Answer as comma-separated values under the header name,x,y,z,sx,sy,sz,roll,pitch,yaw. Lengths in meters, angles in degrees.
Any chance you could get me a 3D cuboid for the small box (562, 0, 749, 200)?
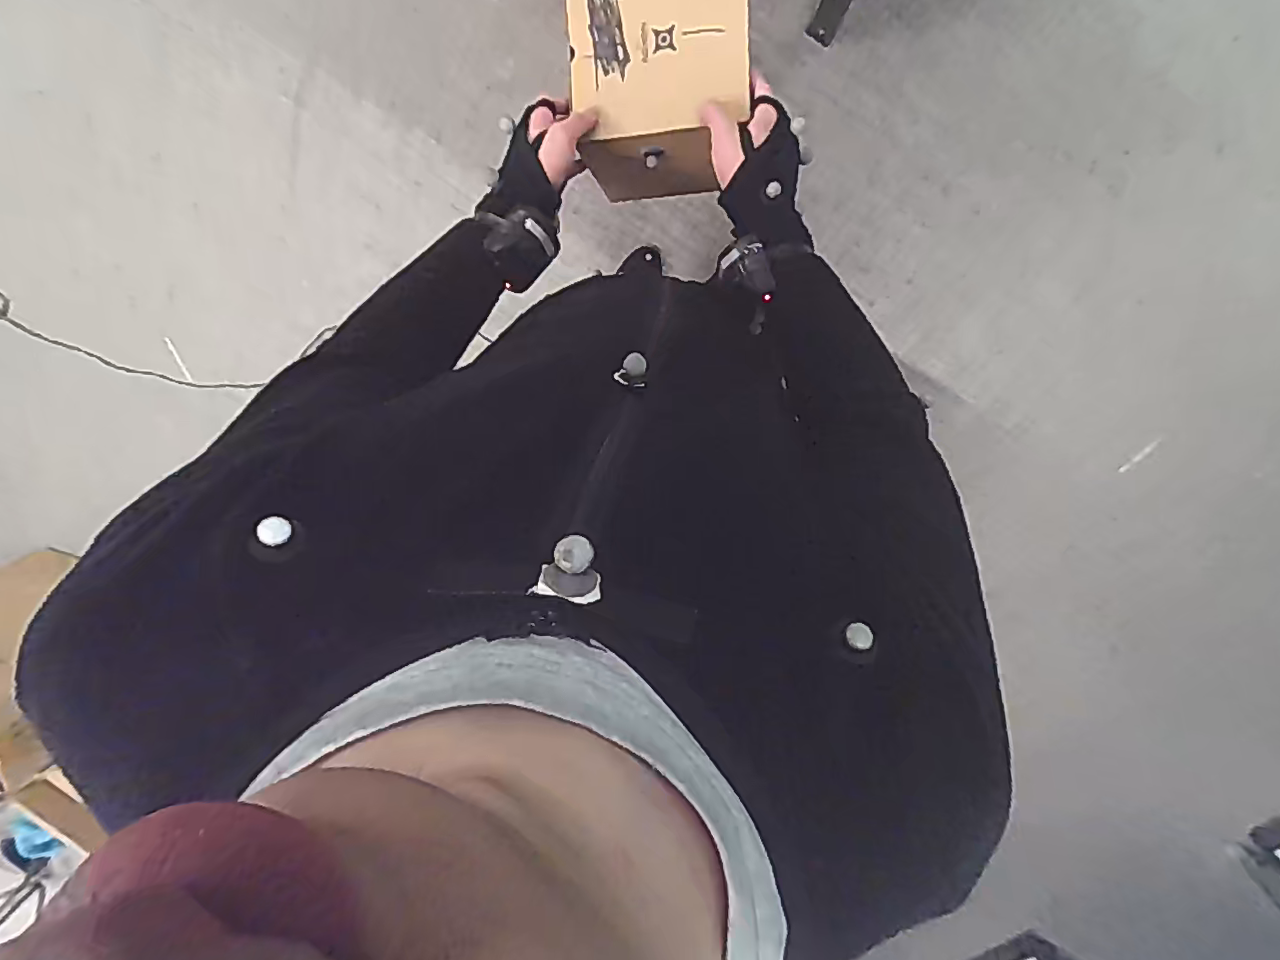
name,x,y,z,sx,sy,sz,roll,pitch,yaw
small box,0.027,-0.420,0.580,0.179,0.176,0.168,-1,98,10
